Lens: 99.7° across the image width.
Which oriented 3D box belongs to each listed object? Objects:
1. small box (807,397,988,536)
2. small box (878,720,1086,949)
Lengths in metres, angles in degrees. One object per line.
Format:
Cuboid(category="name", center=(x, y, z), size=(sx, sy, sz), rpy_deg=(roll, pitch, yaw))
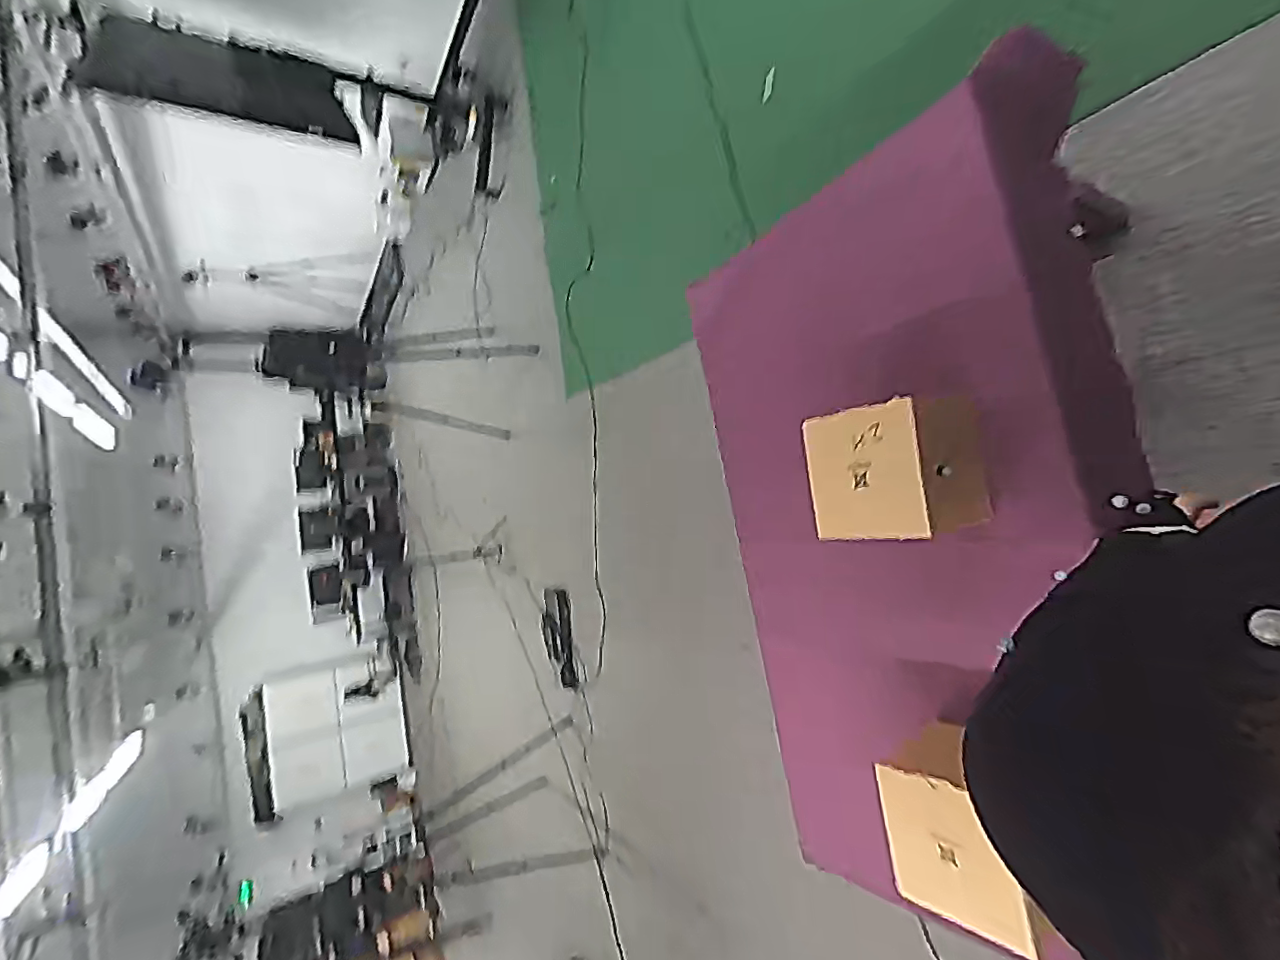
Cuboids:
Cuboid(category="small box", center=(0.368, -0.019, 0.775), size=(0.168, 0.176, 0.179), rpy_deg=(-10, 87, 56))
Cuboid(category="small box", center=(0.455, 0.449, 0.722), size=(0.168, 0.176, 0.179), rpy_deg=(-17, 80, 56))
